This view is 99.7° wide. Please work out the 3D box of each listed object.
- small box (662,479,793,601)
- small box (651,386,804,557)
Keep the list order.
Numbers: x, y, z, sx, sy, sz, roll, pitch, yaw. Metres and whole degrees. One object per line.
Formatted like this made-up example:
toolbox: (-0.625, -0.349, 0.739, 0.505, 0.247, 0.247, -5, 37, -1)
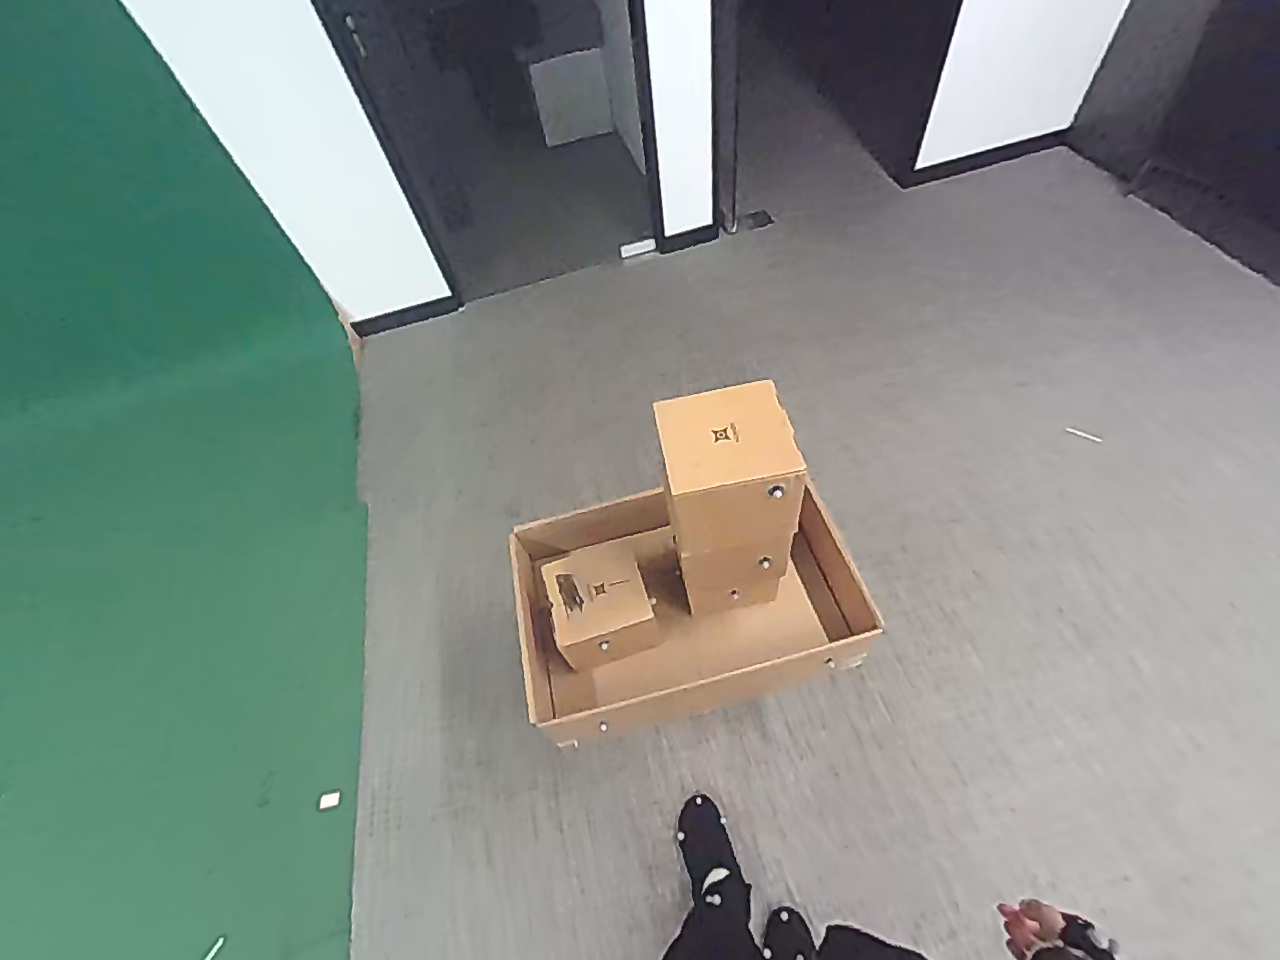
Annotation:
small box: (0.144, 0.087, 0.916, 0.179, 0.176, 0.168, -13, 55, 2)
small box: (0.123, -0.005, 0.785, 0.179, 0.176, 0.168, -11, 54, 2)
